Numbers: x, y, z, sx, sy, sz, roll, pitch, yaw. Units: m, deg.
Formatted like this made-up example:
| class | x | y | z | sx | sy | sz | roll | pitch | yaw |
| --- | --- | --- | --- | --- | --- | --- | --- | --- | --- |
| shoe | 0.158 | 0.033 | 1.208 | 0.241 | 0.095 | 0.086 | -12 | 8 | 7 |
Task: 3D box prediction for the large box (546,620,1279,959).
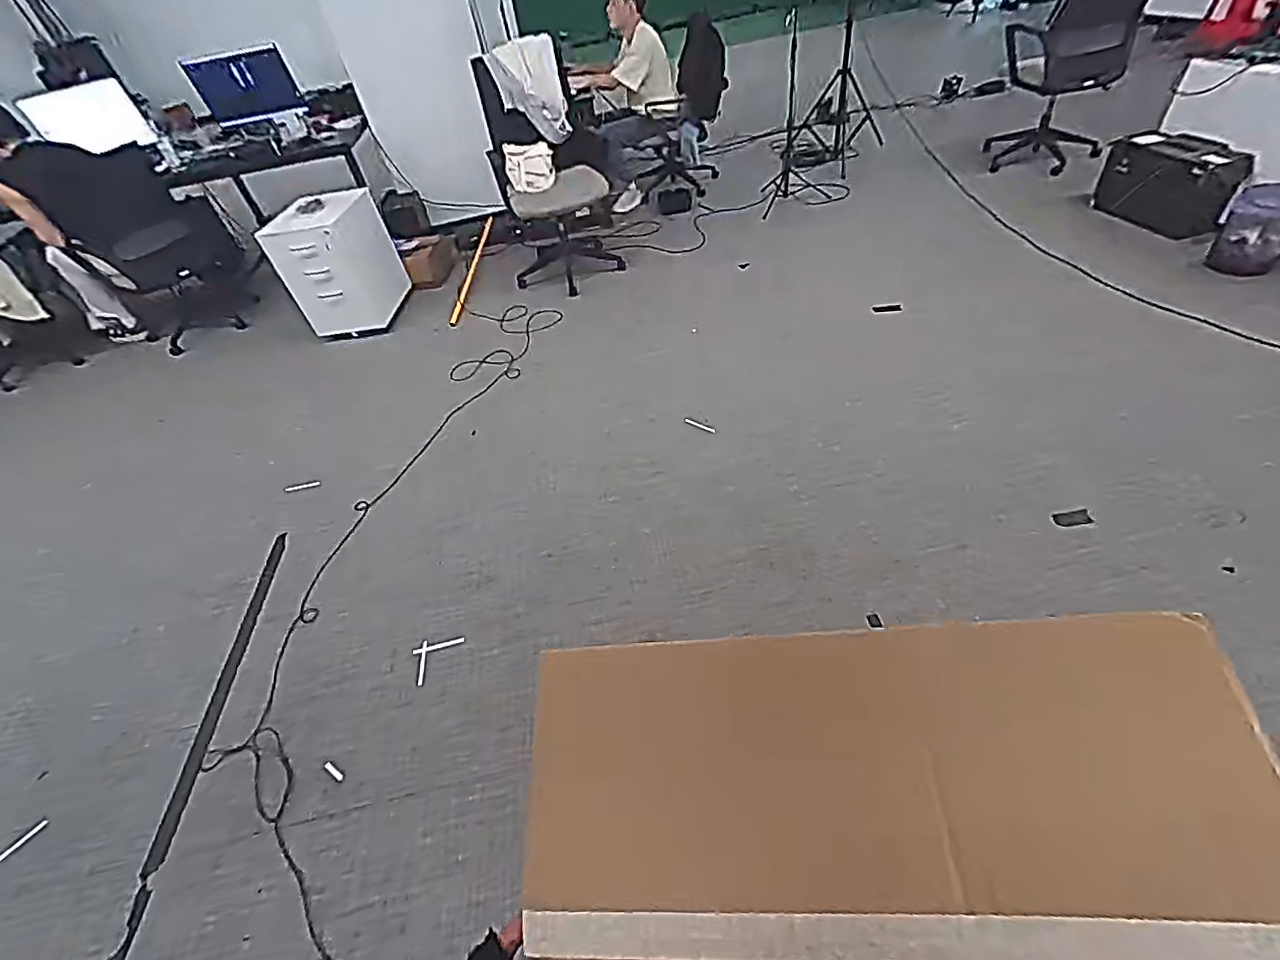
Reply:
| class | x | y | z | sx | sy | sz | roll | pitch | yaw |
| --- | --- | --- | --- | --- | --- | --- | --- | --- | --- |
| large box | 0.166 | 0.312 | 0.420 | 0.408 | 0.320 | 0.320 | -7 | 63 | 10 |
